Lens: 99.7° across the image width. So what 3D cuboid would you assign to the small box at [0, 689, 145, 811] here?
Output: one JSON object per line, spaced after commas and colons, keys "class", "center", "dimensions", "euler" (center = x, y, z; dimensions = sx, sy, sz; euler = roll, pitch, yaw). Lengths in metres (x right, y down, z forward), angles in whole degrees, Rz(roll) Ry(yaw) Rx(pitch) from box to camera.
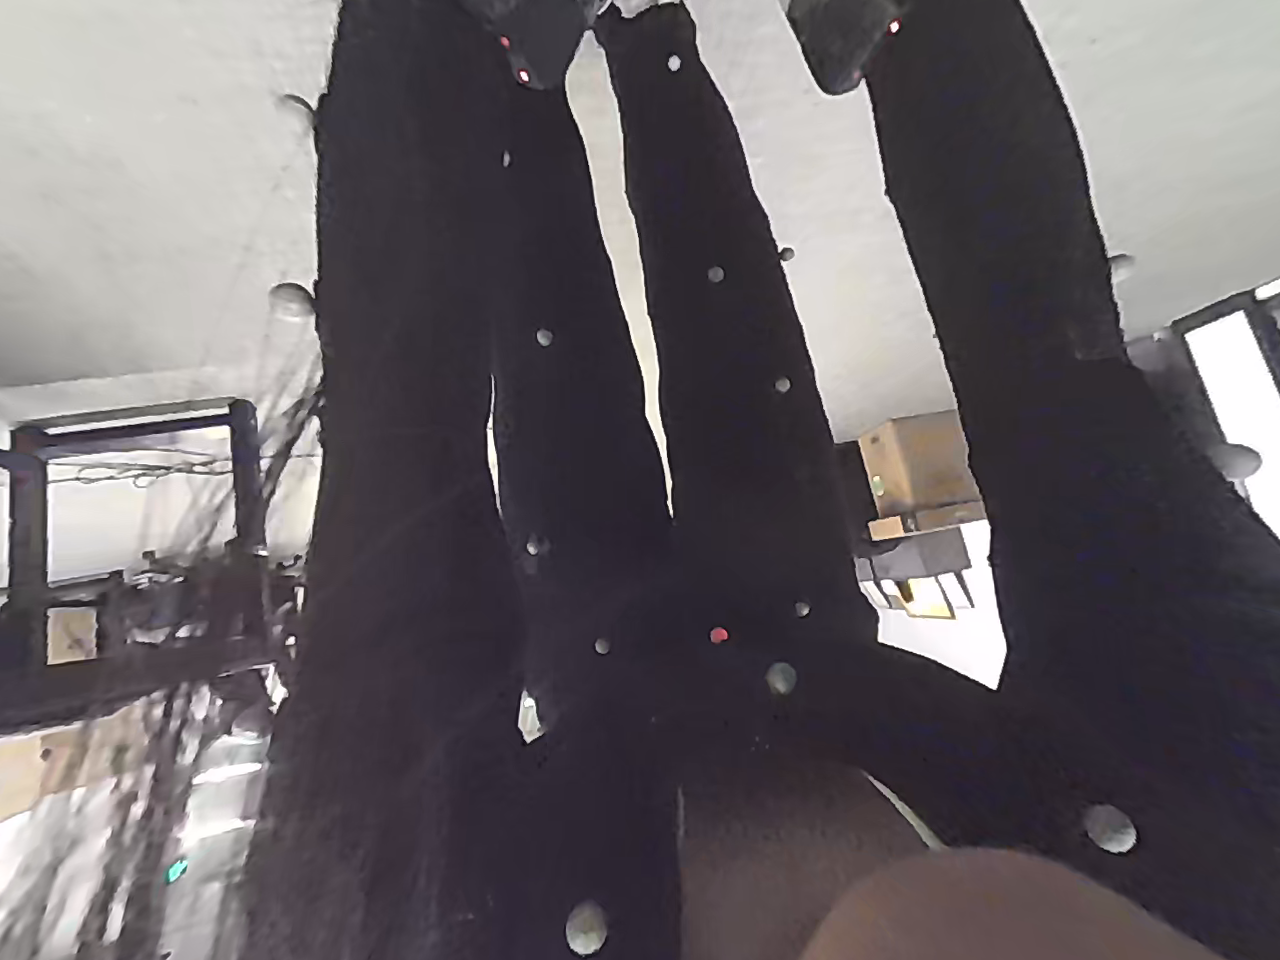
{"class": "small box", "center": [-1.167, 0.541, 1.098], "dimensions": [0.168, 0.176, 0.179], "euler": [-10, 170, -6]}
